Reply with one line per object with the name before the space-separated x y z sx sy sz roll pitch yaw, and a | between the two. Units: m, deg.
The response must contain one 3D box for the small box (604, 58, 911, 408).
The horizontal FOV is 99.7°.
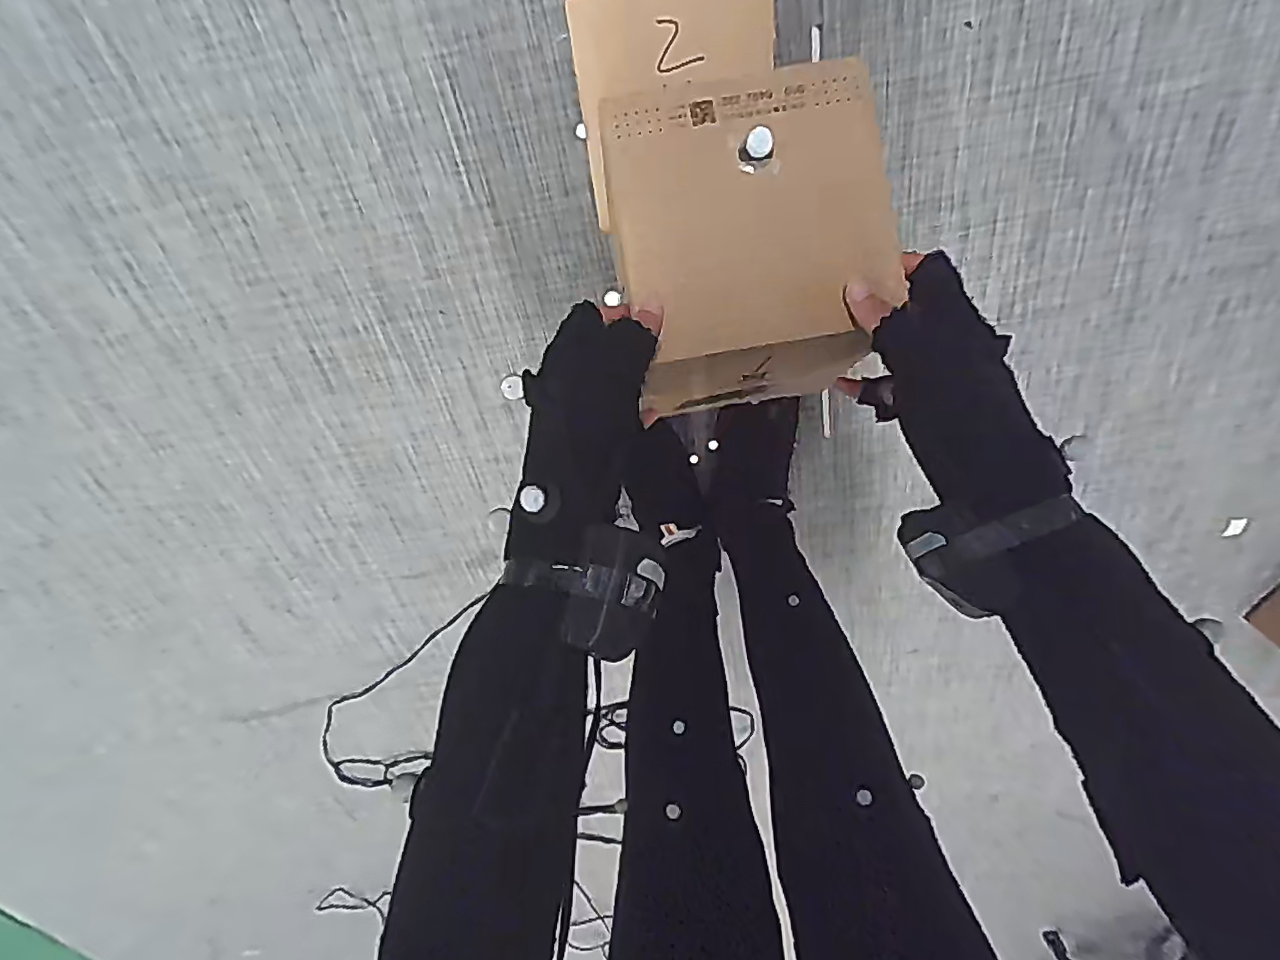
small box | 0.069 -0.160 0.403 0.168 0.179 0.176 -9 88 -1
